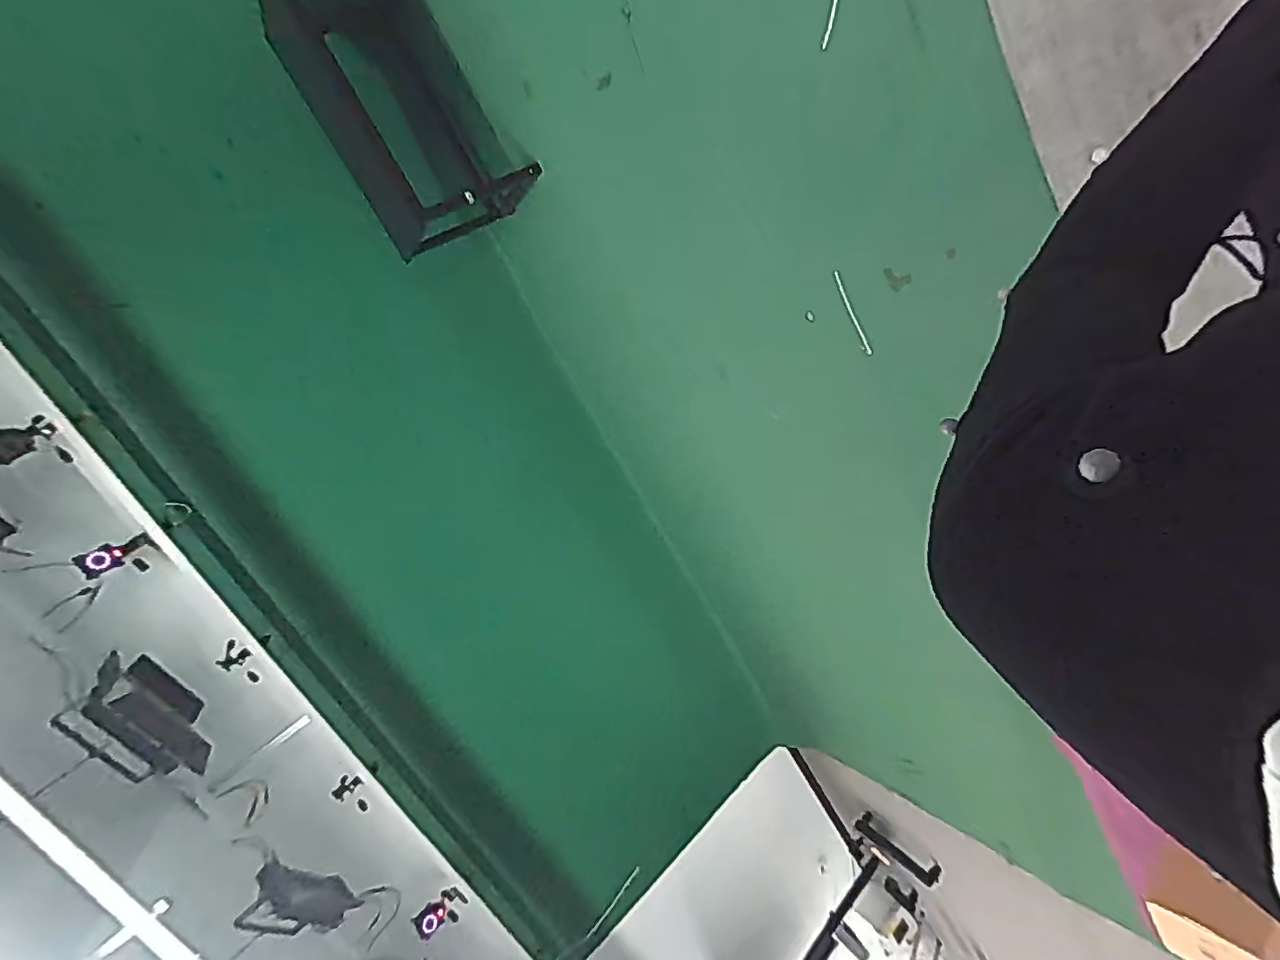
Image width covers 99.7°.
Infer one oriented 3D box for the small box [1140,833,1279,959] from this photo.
[{"bbox_3d":[1.150,0.863,1.076,0.179,0.176,0.168,59,156,-15],"label":"small box"}]
